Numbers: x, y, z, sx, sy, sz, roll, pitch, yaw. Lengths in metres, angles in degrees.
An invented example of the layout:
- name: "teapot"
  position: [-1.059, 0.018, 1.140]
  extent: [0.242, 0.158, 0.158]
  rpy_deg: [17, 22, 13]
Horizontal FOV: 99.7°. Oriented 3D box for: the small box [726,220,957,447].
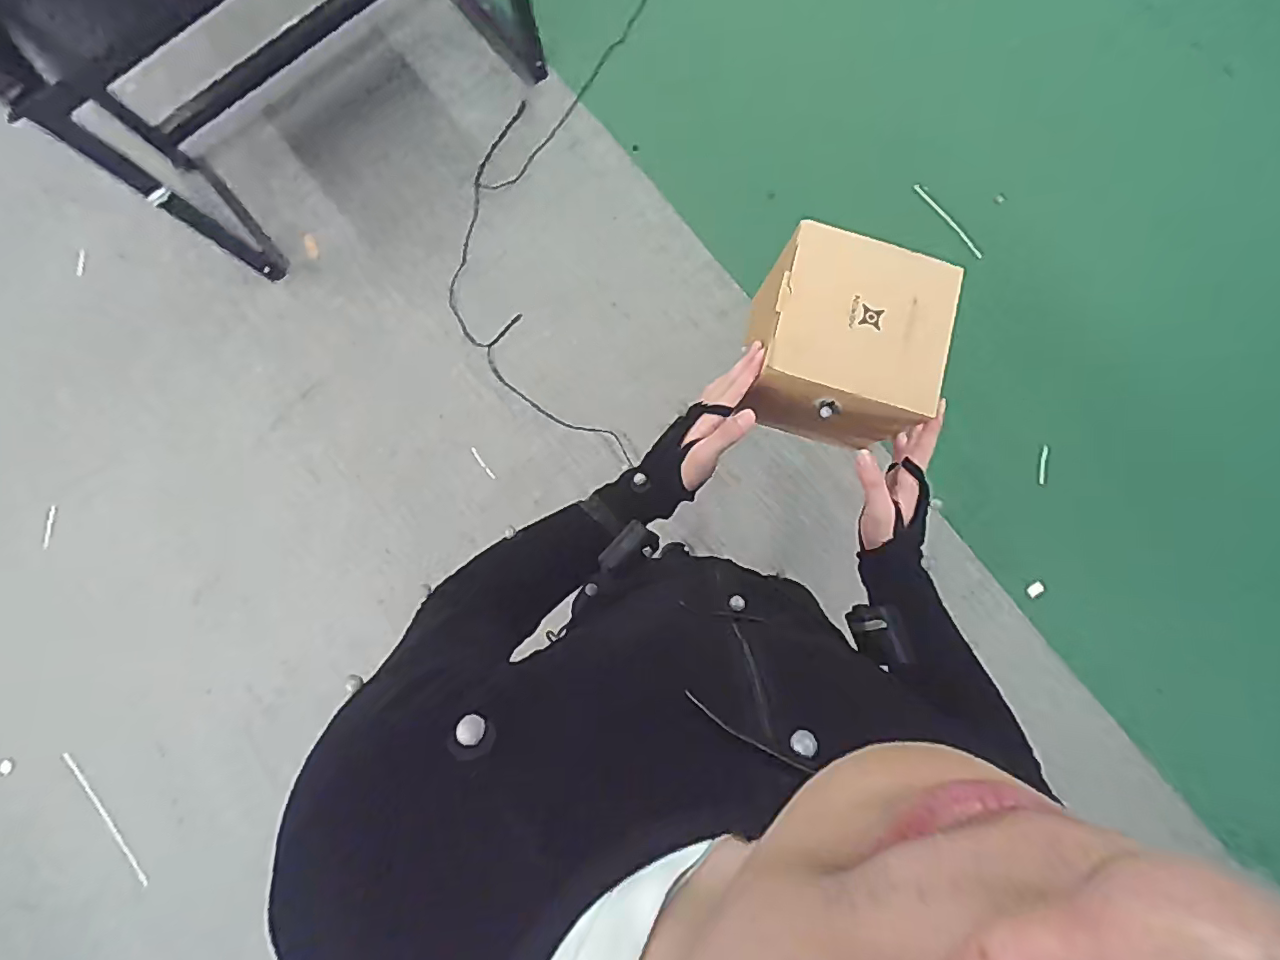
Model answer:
- name: "small box"
  position: [0.208, -0.147, 0.604]
  extent: [0.179, 0.176, 0.168]
  rpy_deg: [16, 80, -2]
